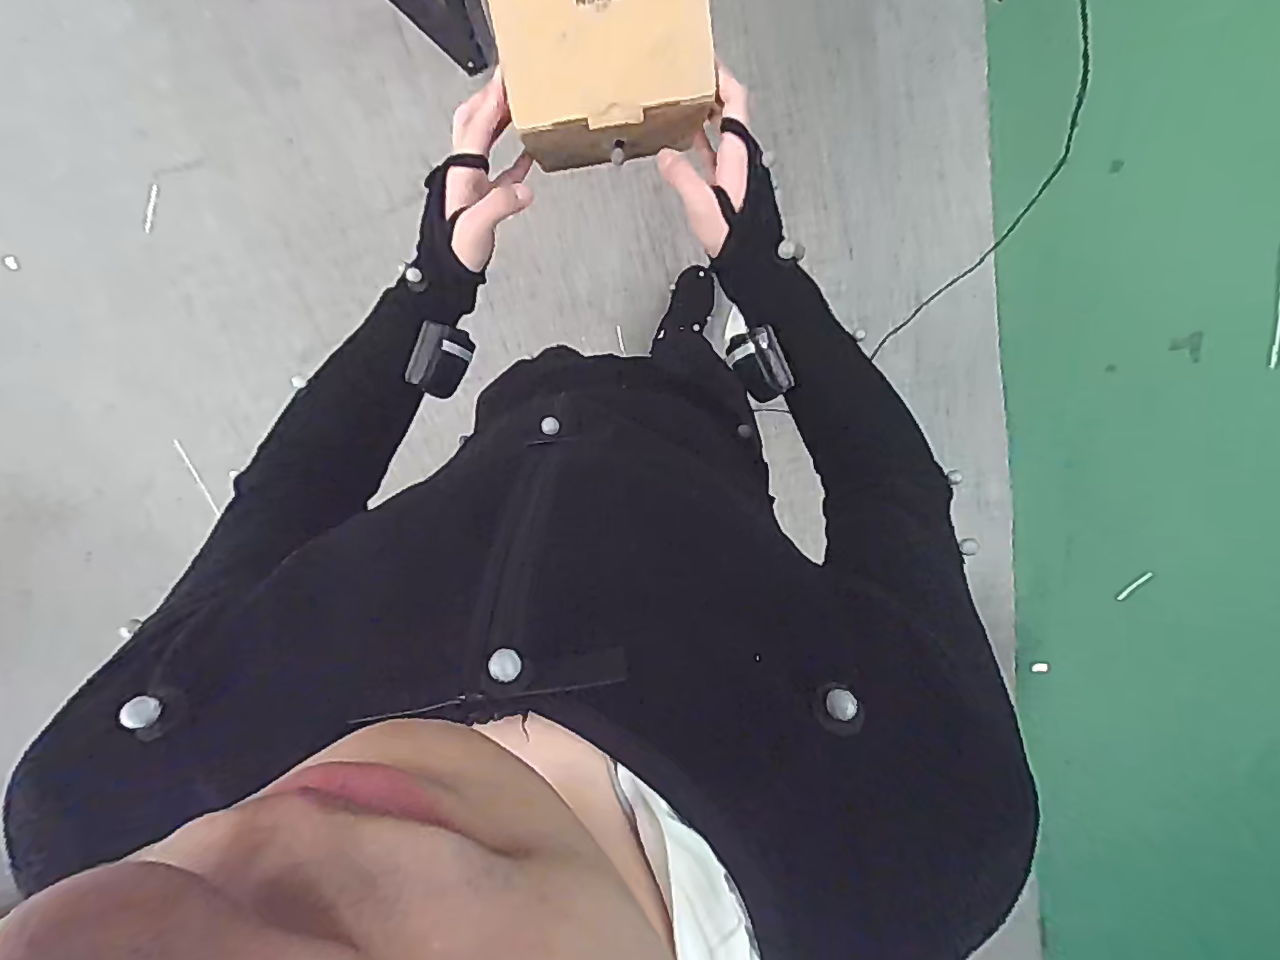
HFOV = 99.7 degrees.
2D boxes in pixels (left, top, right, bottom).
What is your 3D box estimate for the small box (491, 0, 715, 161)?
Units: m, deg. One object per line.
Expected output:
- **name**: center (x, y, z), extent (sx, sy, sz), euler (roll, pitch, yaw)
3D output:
- **small box**: center (-0.033, -0.398, 0.477), extent (0.168, 0.176, 0.179), euler (-9, 111, 1)
